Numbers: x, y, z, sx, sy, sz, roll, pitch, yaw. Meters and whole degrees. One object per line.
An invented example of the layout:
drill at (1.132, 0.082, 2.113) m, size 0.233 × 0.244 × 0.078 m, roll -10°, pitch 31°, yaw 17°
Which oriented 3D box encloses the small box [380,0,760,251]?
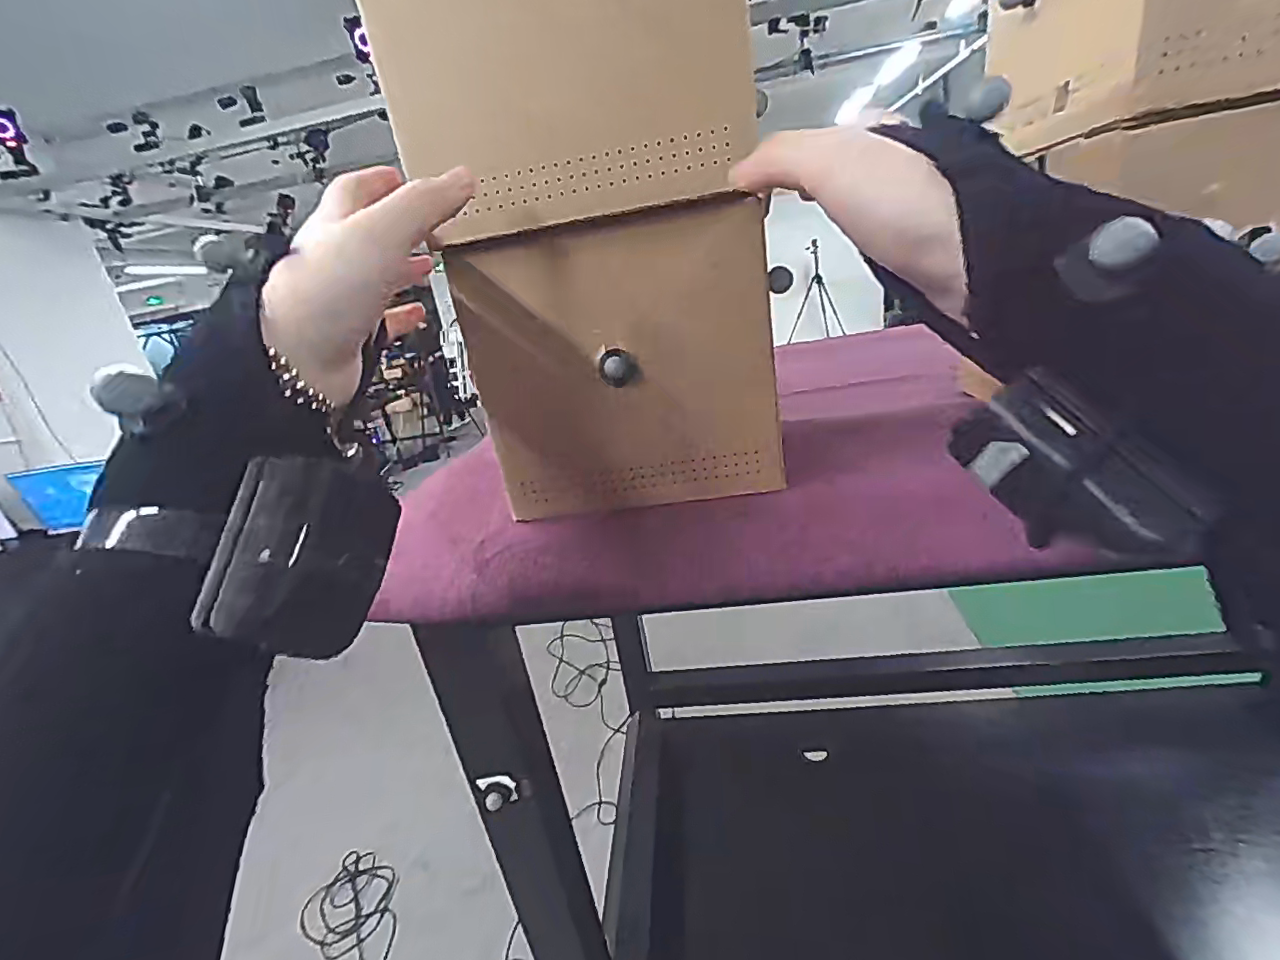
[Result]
small box at (-0.032, -0.235, 0.317) m, size 0.179 × 0.176 × 0.168 m, roll -6°, pitch 21°, yaw 7°

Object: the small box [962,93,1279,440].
small box at (0.335, -0.131, 0.350) m, size 0.179 × 0.176 × 0.168 m, roll -7°, pitch 21°, yaw 9°

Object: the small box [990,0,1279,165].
small box at (0.312, -0.280, 0.288) m, size 0.179 × 0.176 × 0.168 m, roll -4°, pitch 21°, yaw 11°
